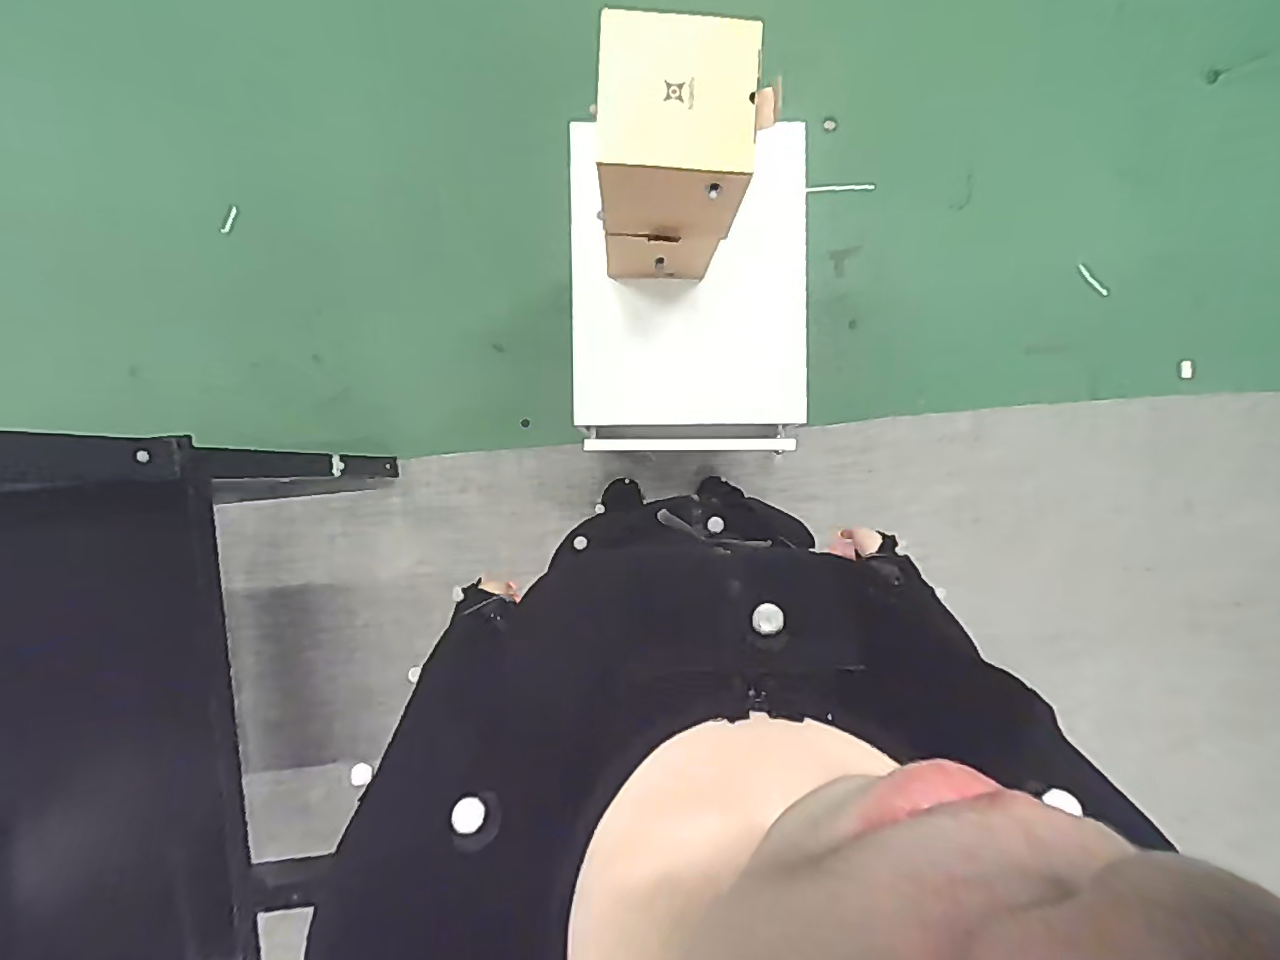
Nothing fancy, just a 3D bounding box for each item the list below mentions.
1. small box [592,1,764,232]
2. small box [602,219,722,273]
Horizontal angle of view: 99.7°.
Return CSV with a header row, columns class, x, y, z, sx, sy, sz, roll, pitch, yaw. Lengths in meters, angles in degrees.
class,x,y,z,sx,sy,sz,roll,pitch,yaw
small box,0.038,-0.415,0.646,0.179,0.176,0.168,2,91,-2
small box,0.031,-0.422,0.809,0.168,0.176,0.179,0,91,-2
